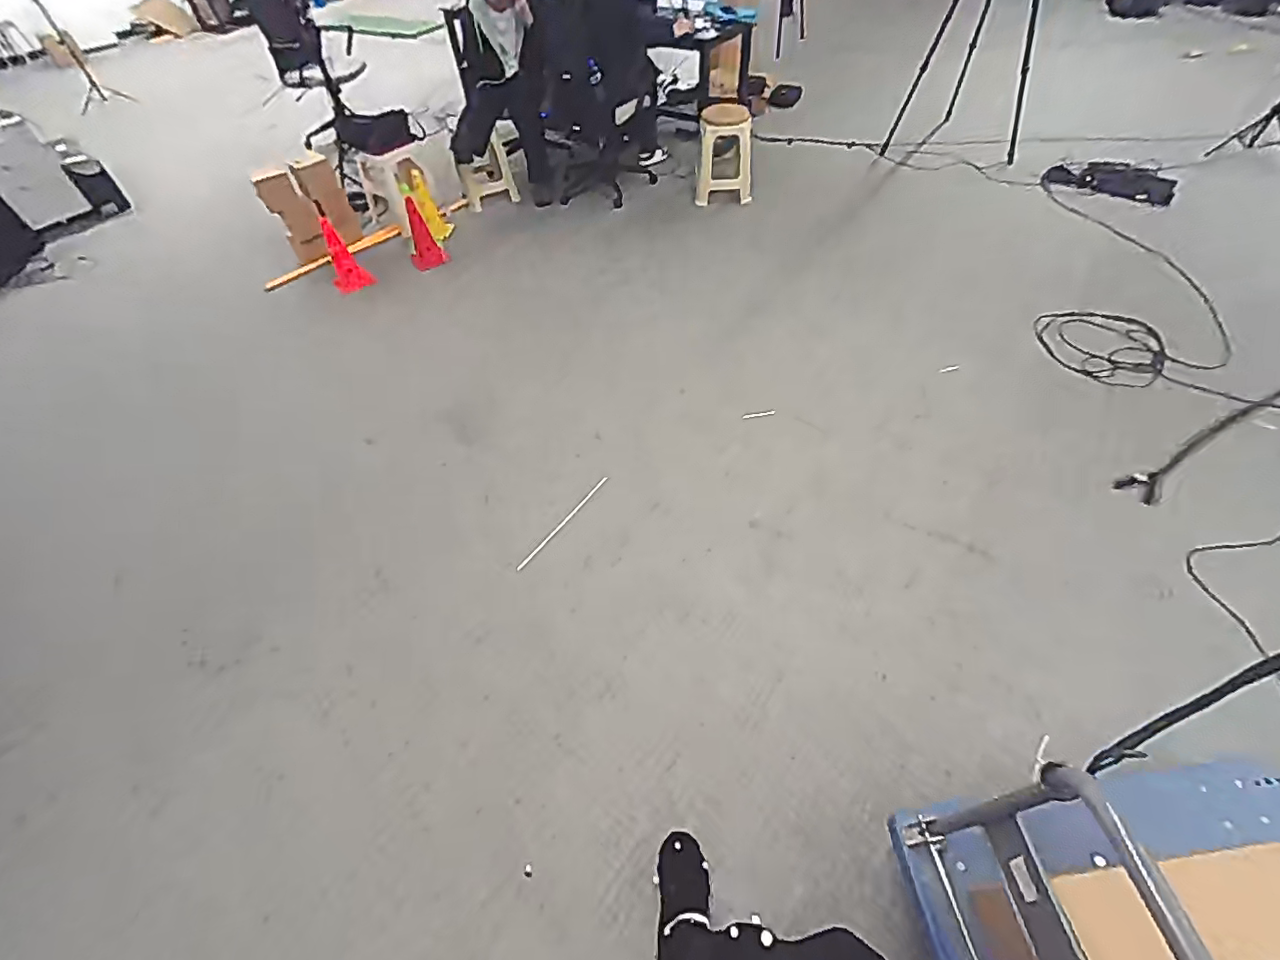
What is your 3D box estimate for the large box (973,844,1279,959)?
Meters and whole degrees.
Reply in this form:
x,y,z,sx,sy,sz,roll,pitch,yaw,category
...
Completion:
x,y,z,sx,sy,sz,roll,pitch,yaw,category
0.867,0.828,0.882,0.408,0.320,0.320,-7,50,-2,large box
